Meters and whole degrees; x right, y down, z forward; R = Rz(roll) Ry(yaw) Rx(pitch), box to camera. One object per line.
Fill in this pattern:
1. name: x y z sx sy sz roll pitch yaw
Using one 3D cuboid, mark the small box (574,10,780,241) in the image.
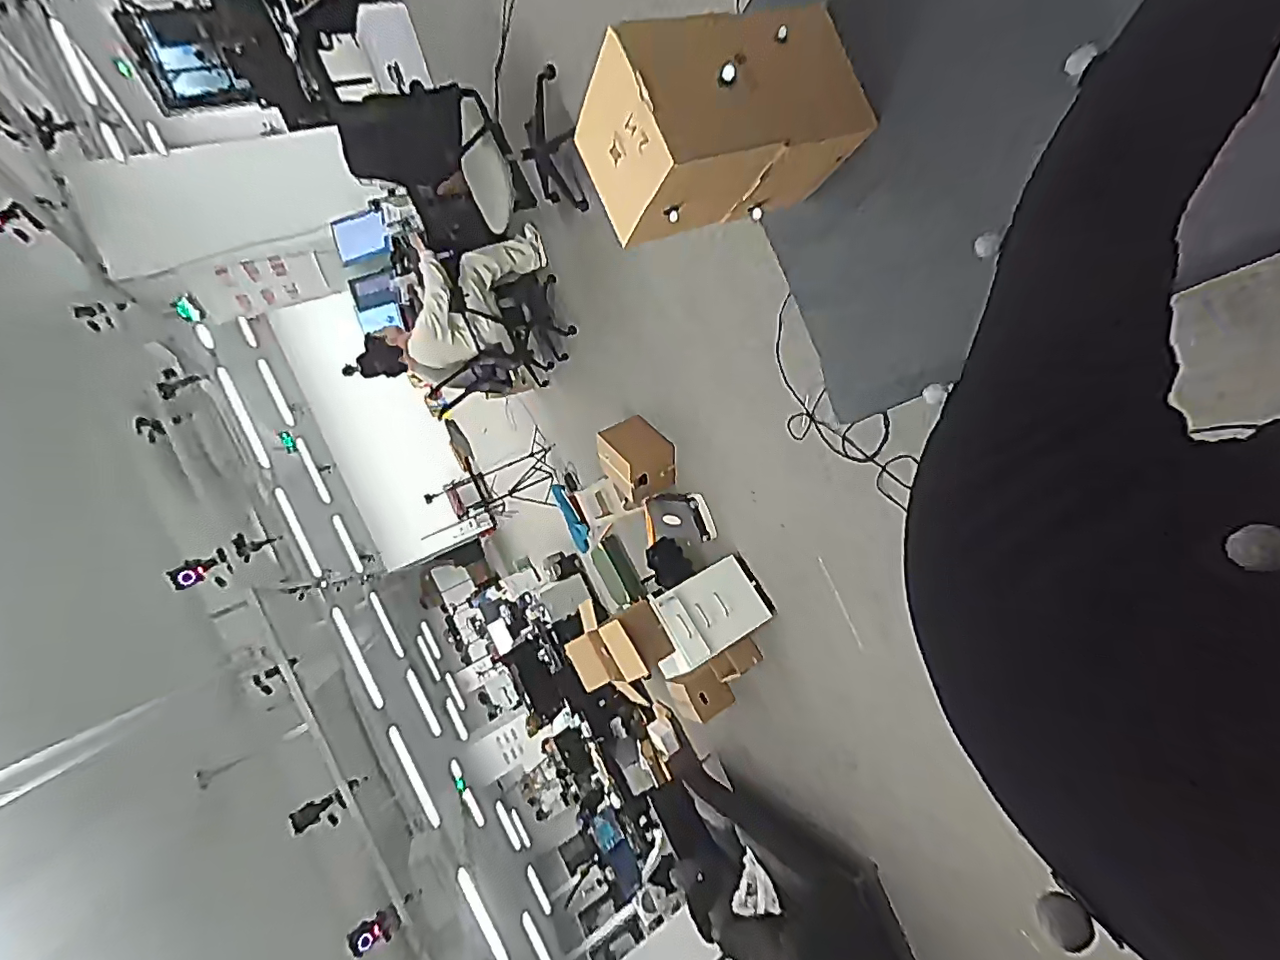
1. small box: 0.041 -0.439 0.683 0.168 0.176 0.179 64 158 -2
